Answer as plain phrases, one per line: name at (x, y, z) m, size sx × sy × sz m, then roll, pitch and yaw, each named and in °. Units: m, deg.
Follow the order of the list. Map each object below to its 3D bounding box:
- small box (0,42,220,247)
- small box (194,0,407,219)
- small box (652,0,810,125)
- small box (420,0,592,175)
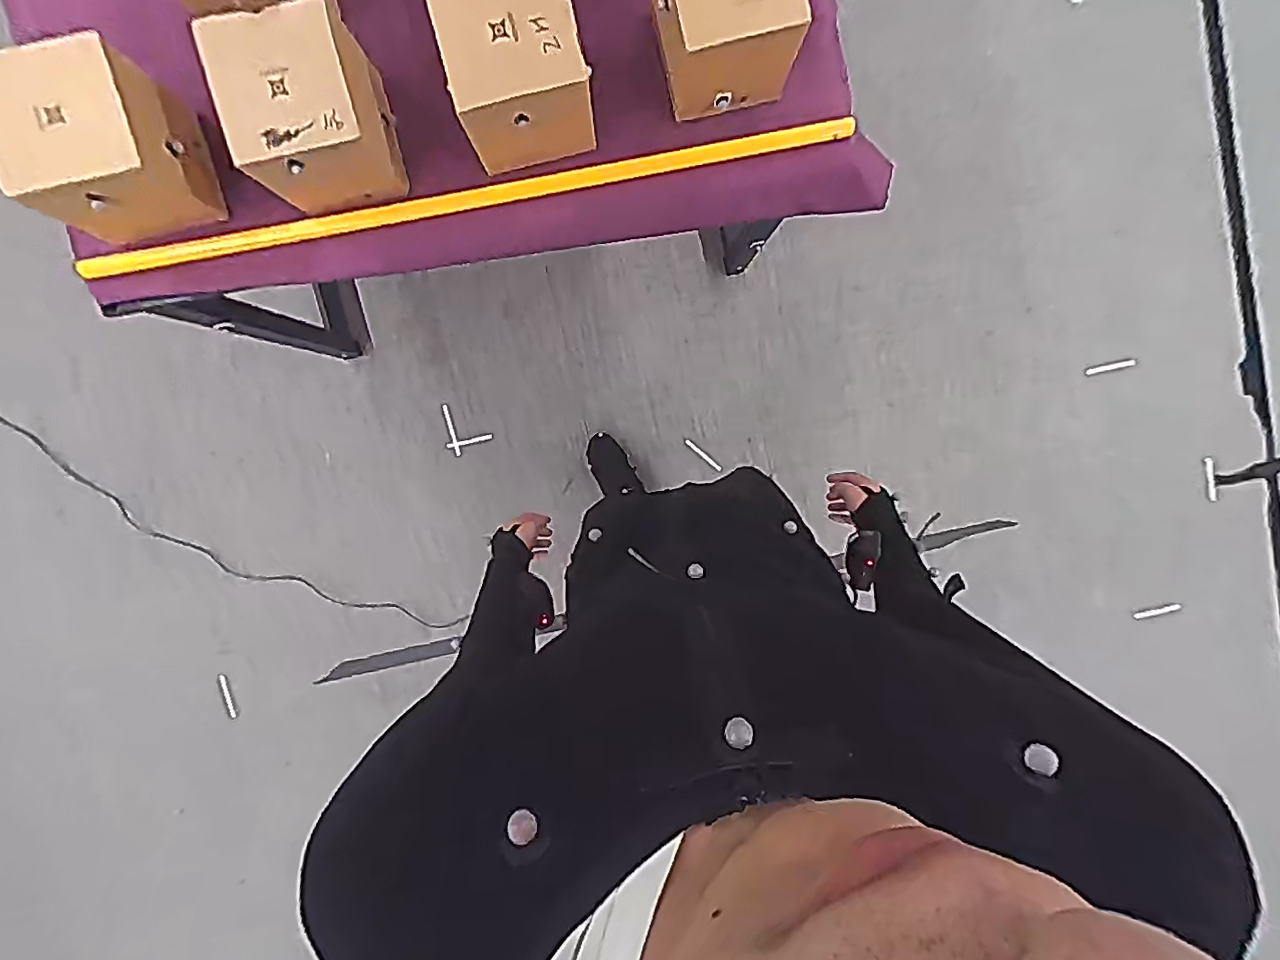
small box at (-0.727, -0.444, 0.744) m, size 0.179 × 0.176 × 0.168 m, roll -14°, pitch 95°, yaw -1°
small box at (-0.452, -0.495, 0.749) m, size 0.168 × 0.176 × 0.179 m, roll -13°, pitch 95°, yaw 0°
small box at (0.114, -0.642, 0.750) m, size 0.168 × 0.176 × 0.179 m, roll -14°, pitch 94°, yaw 1°
small box at (-0.173, -0.557, 0.751) m, size 0.179 × 0.176 × 0.168 m, roll -15°, pitch 94°, yaw -1°
